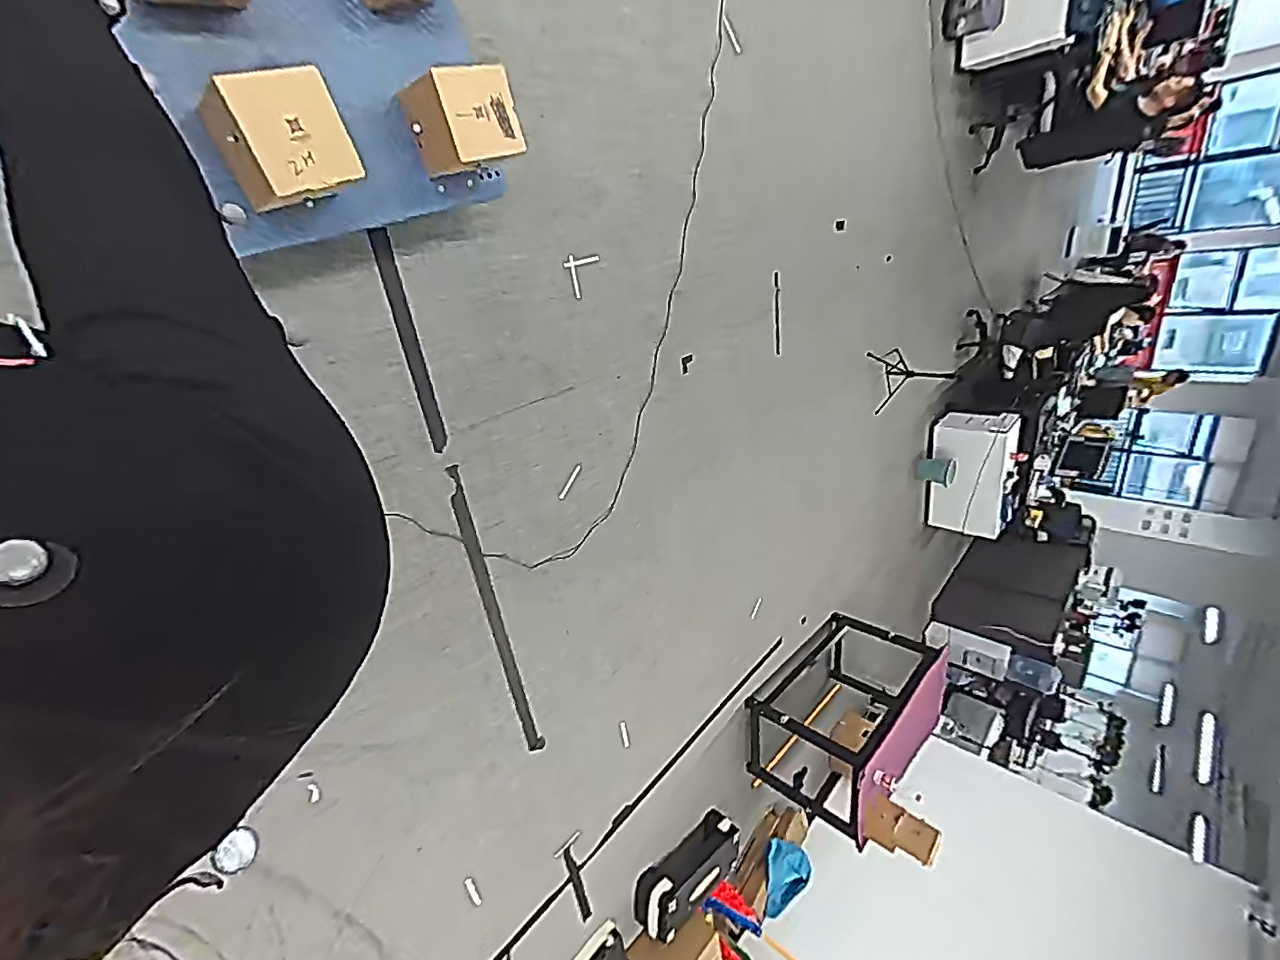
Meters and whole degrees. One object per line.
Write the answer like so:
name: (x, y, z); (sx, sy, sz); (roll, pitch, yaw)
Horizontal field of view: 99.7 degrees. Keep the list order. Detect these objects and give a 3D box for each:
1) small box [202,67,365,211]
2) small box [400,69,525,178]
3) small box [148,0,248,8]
small box: (-0.643, -0.607, 0.974); (0.168, 0.176, 0.179); (-38, 126, -33)
small box: (-0.390, -0.782, 1.192); (0.179, 0.176, 0.168); (-35, 124, -34)
small box: (-0.714, -0.869, 0.827); (0.168, 0.176, 0.179); (-34, 125, -36)
